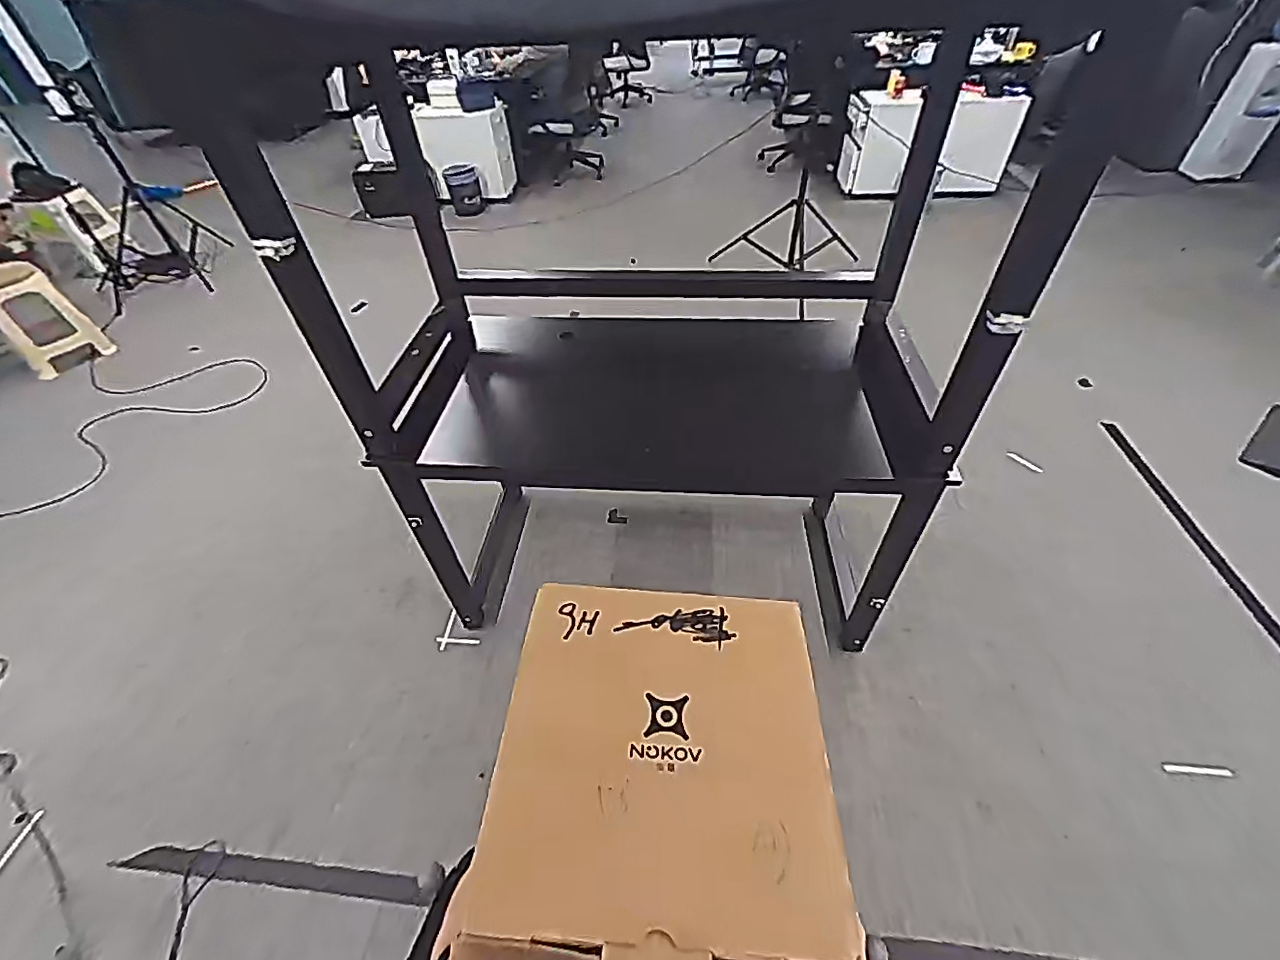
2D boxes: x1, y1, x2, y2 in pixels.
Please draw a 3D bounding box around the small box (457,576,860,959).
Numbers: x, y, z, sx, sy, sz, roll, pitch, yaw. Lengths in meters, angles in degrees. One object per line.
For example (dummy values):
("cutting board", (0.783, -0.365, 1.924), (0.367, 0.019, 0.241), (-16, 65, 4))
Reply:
("small box", (0.009, 0.183, 0.328), (0.168, 0.176, 0.179), (5, 44, 0))
